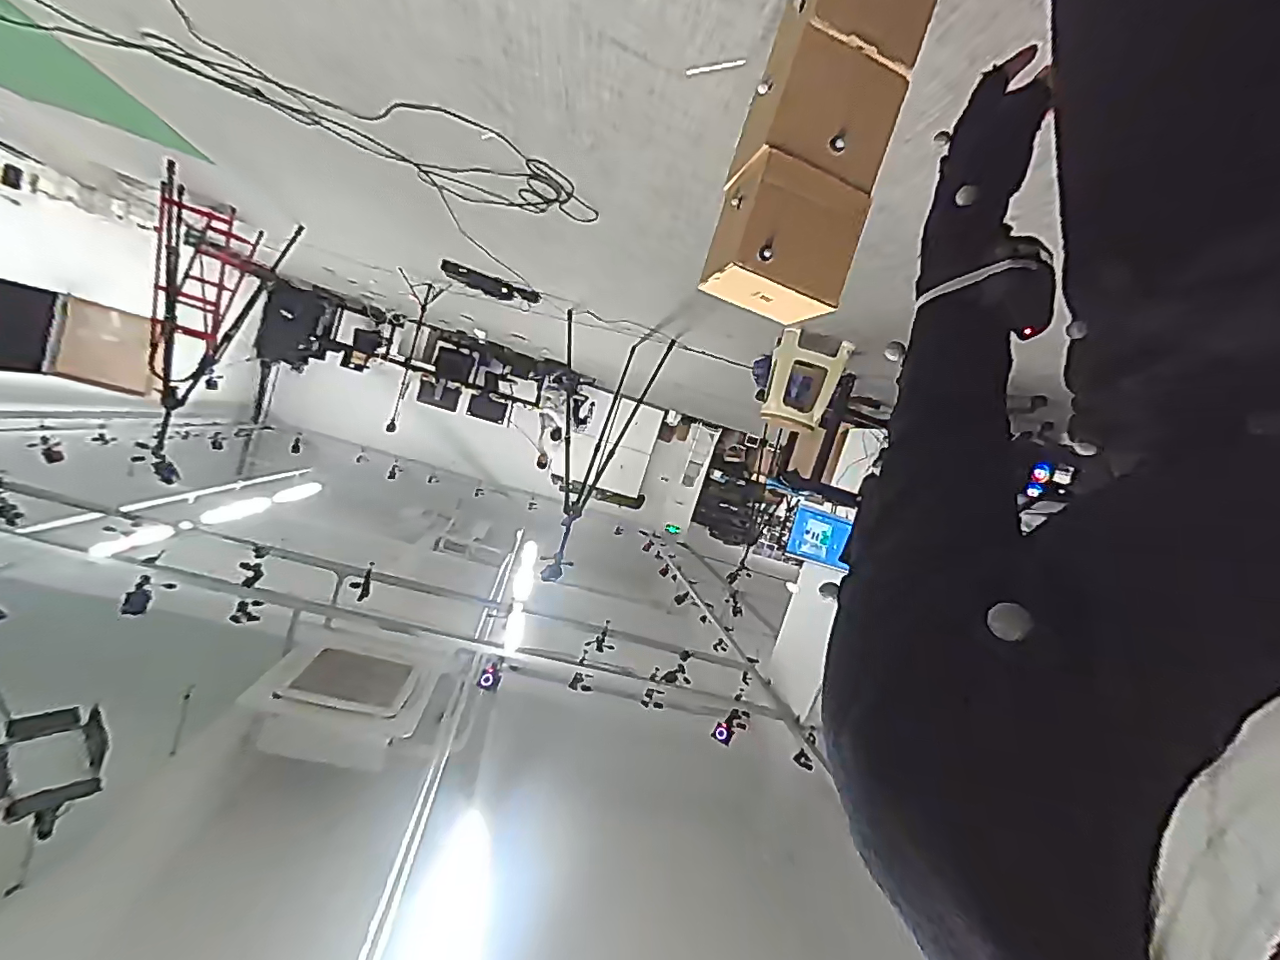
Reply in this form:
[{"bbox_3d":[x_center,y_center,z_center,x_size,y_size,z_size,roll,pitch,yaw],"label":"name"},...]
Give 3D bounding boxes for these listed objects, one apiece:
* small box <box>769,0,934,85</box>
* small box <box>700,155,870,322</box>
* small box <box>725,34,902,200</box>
[{"bbox_3d":[0.313,-0.677,0.809,0.168,0.176,0.179,17,-176,-13],"label":"small box"},{"bbox_3d":[0.221,-0.365,0.841,0.179,0.176,0.168,17,-176,-14],"label":"small box"},{"bbox_3d":[0.261,-0.521,0.828,0.179,0.176,0.168,18,-176,-14],"label":"small box"}]
